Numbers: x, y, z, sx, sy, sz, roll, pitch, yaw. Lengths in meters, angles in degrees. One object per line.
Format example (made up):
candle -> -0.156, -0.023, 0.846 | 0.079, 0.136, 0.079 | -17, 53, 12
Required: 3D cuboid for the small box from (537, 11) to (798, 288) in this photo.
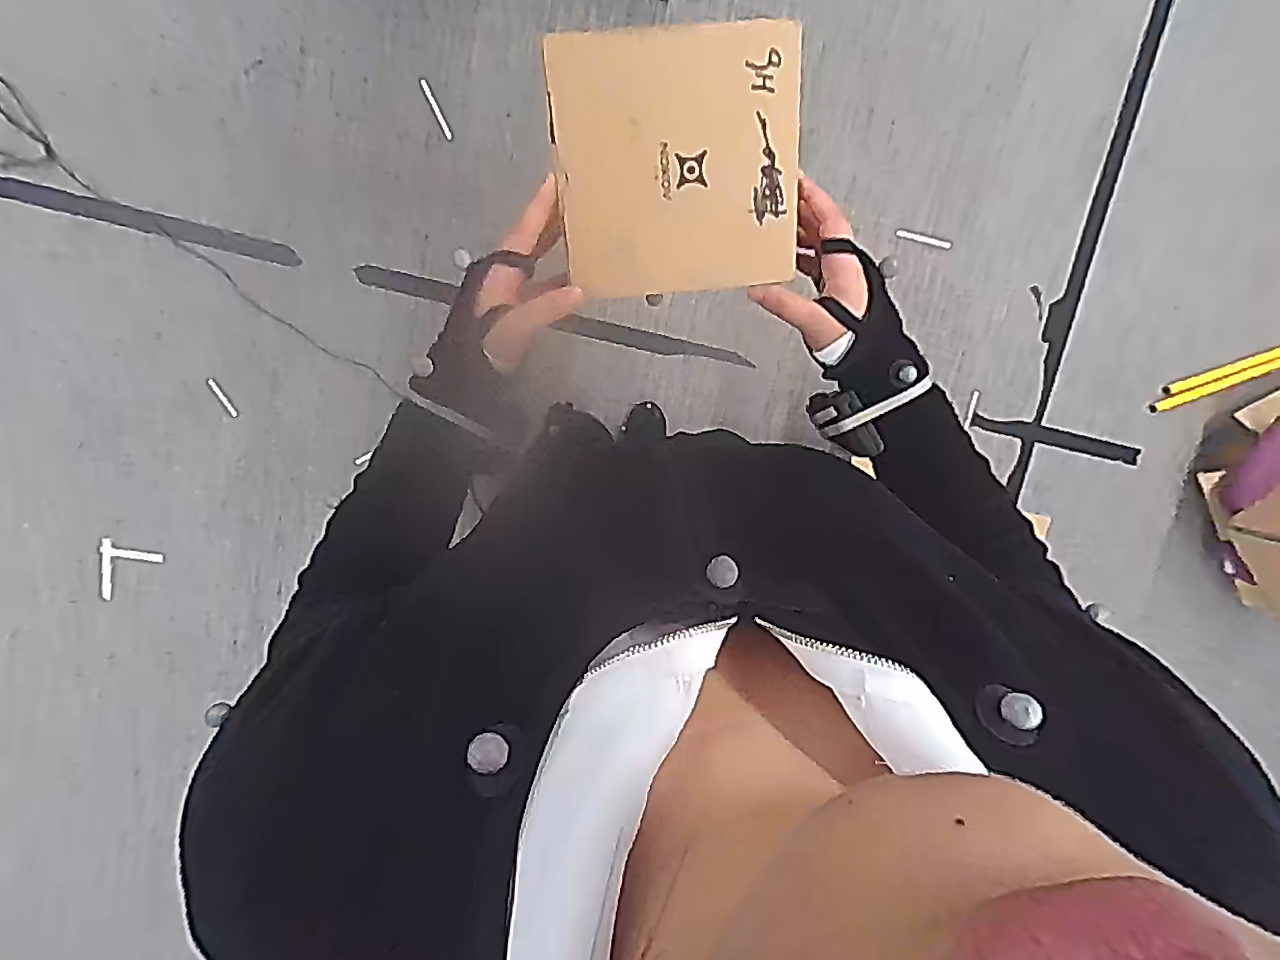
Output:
small box -> 0.019, -0.255, 0.457 | 0.179, 0.176, 0.168 | -6, 112, -2
